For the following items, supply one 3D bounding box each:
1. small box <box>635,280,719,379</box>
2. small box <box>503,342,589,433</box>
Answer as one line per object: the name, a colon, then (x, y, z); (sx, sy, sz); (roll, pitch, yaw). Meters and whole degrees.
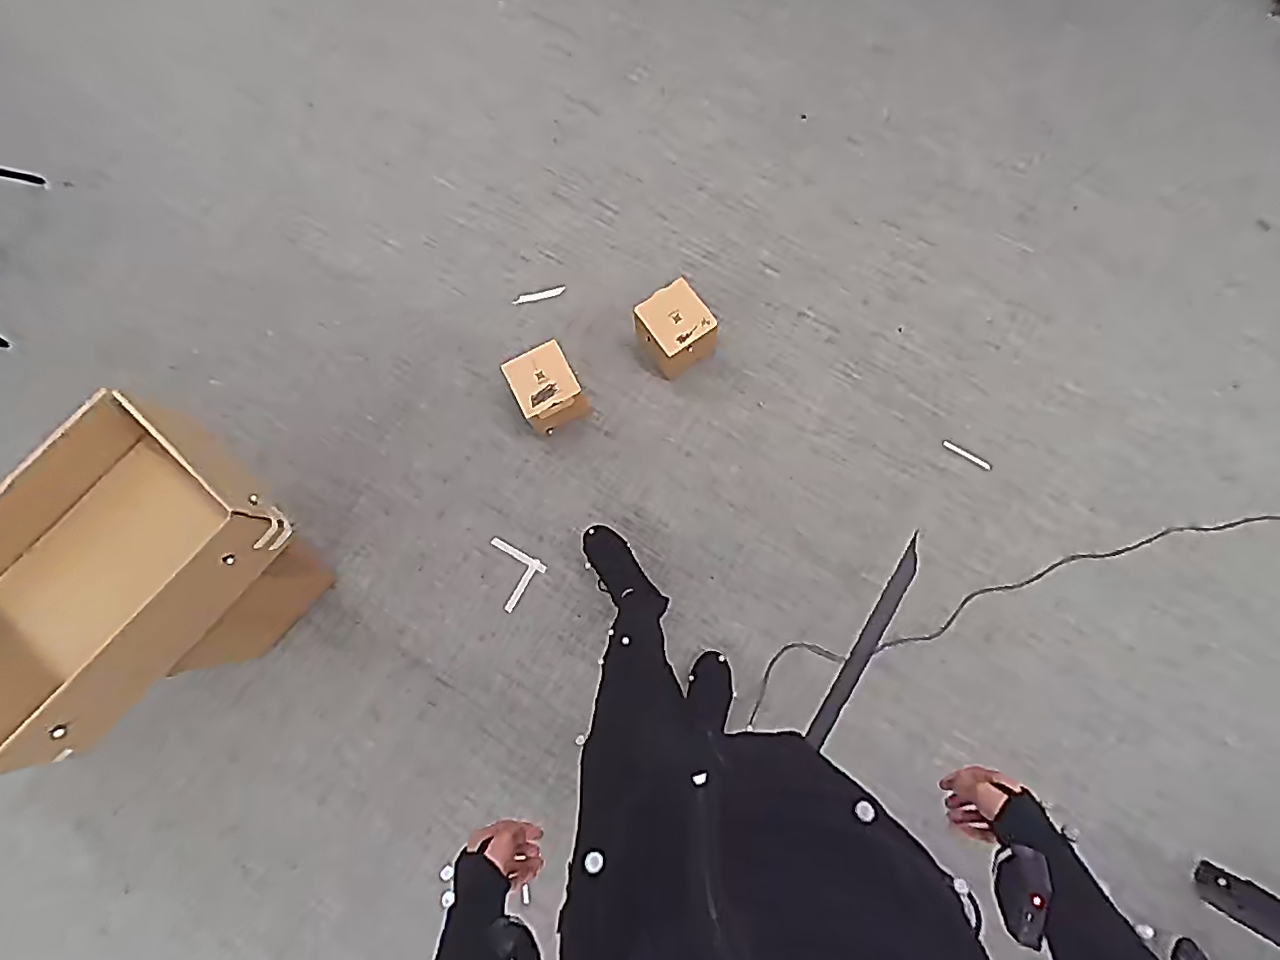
small box: (0.101, -0.420, 1.534); (0.168, 0.176, 0.179); (-34, 78, -4)
small box: (-0.255, -0.248, 1.515); (0.168, 0.176, 0.179); (-27, 78, -3)
